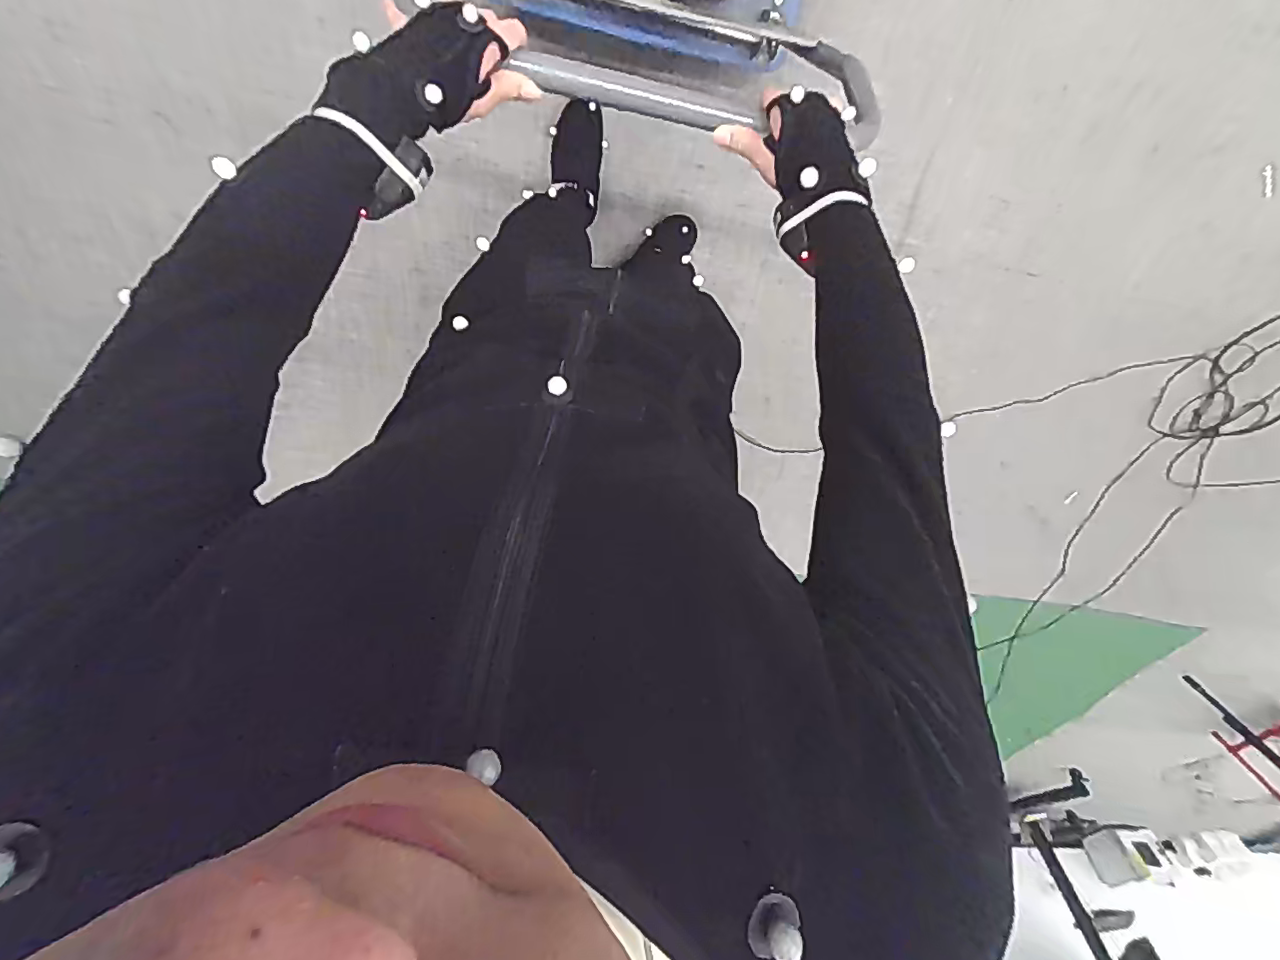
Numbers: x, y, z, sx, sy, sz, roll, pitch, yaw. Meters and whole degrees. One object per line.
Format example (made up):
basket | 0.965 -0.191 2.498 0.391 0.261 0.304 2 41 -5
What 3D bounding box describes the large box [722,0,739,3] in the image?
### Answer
large box | 0.061 -0.937 0.723 0.320 0.320 0.408 8 129 -9
